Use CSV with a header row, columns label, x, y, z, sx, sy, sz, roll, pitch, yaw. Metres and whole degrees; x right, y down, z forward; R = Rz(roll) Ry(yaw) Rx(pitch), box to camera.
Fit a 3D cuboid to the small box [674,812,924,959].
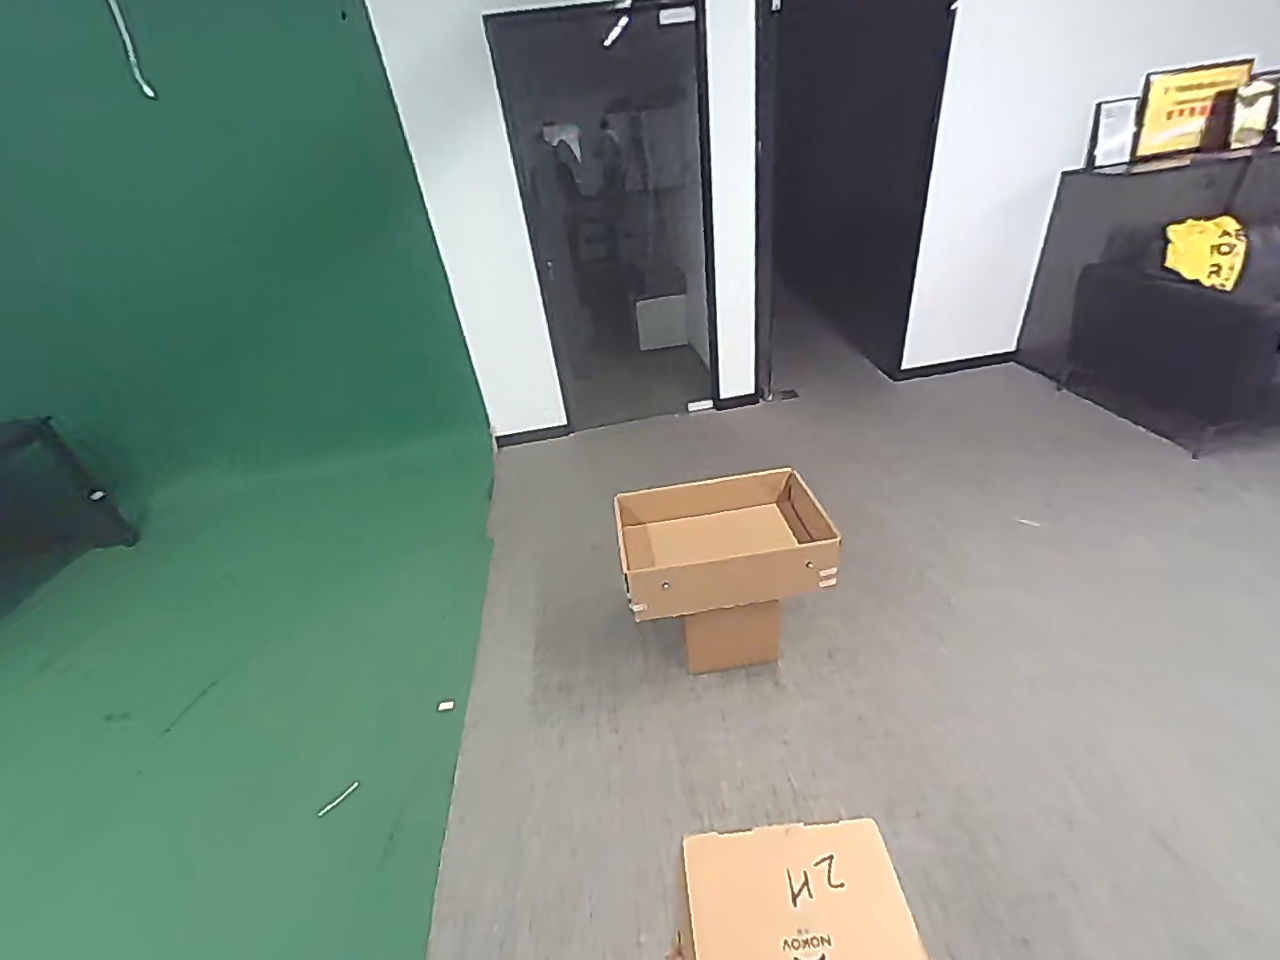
label,x,y,z,sx,sy,sz,roll,pitch,yaw
small box,0.118,0.396,0.426,0.168,0.176,0.179,-4,37,-2
